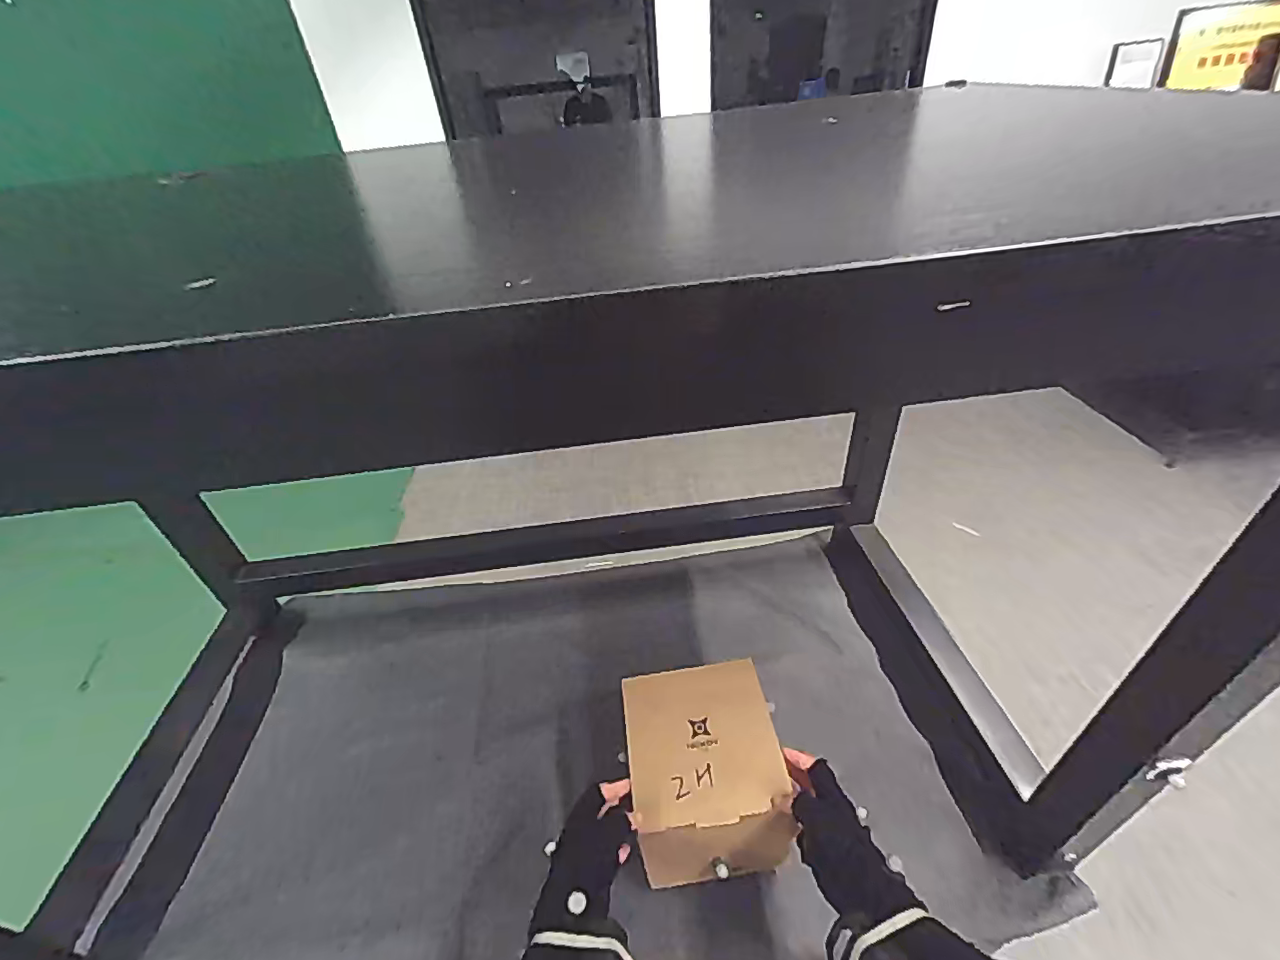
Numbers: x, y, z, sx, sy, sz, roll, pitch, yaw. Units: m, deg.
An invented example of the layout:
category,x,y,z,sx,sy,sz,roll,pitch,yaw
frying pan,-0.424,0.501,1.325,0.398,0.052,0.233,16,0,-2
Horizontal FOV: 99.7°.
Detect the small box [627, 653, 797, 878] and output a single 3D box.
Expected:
category,x,y,z,sx,sy,sz,roll,pitch,yaw
small box,0.078,0.340,0.653,0.168,0.176,0.179,-9,37,-1
